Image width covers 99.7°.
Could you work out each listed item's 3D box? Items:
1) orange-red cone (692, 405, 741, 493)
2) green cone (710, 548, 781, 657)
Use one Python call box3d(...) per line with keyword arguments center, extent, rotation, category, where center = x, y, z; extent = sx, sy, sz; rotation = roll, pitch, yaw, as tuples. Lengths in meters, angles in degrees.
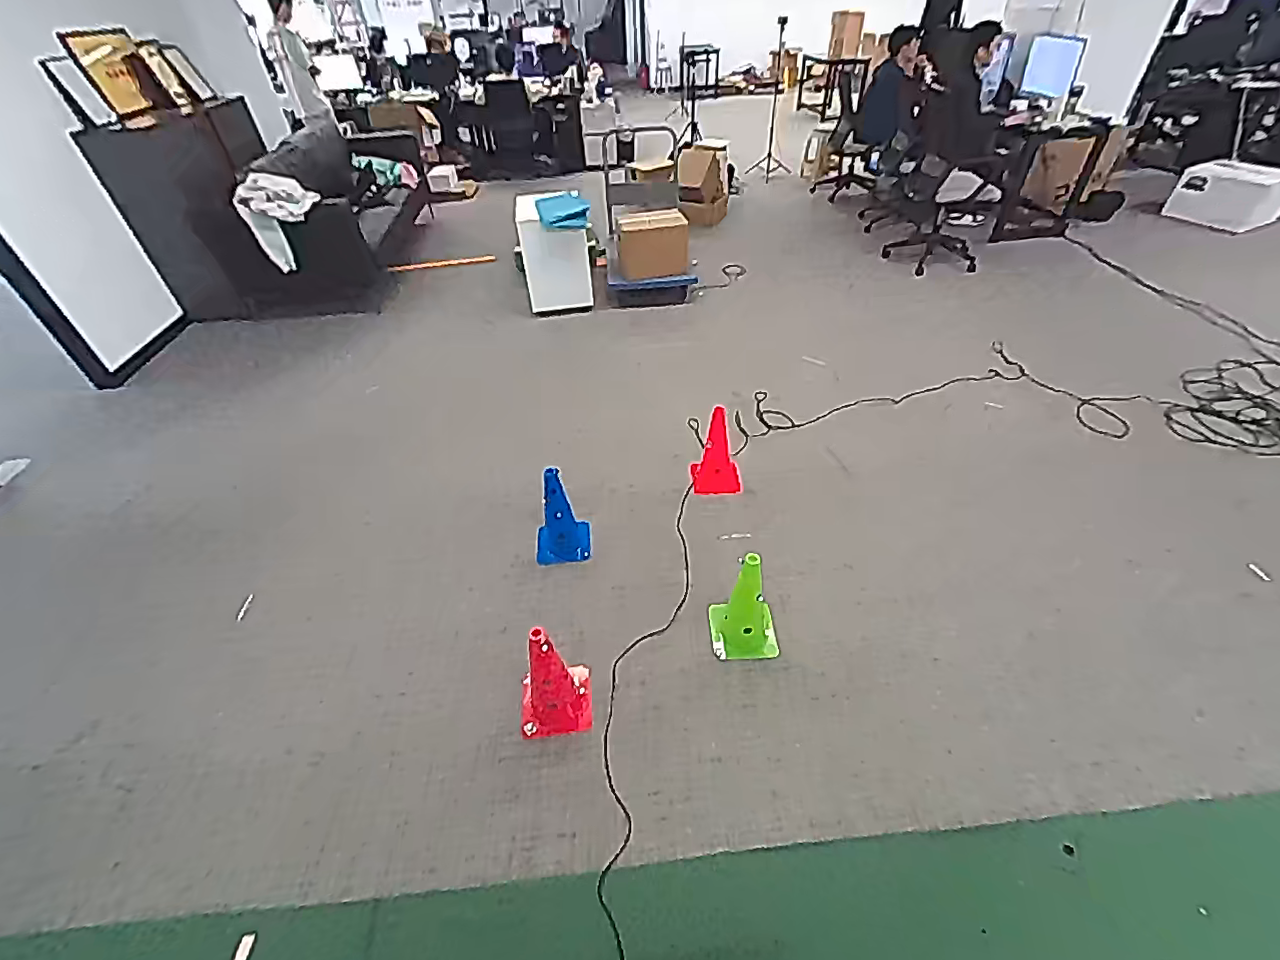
box3d(center=(0.309, -0.142, 2.160), extent=(0.198, 0.360, 0.199), rotation=(-3, 43, 3), category="orange-red cone")
box3d(center=(0.326, 0.341, 1.611), extent=(0.200, 0.368, 0.202), rotation=(-3, 41, 0), category="green cone")
